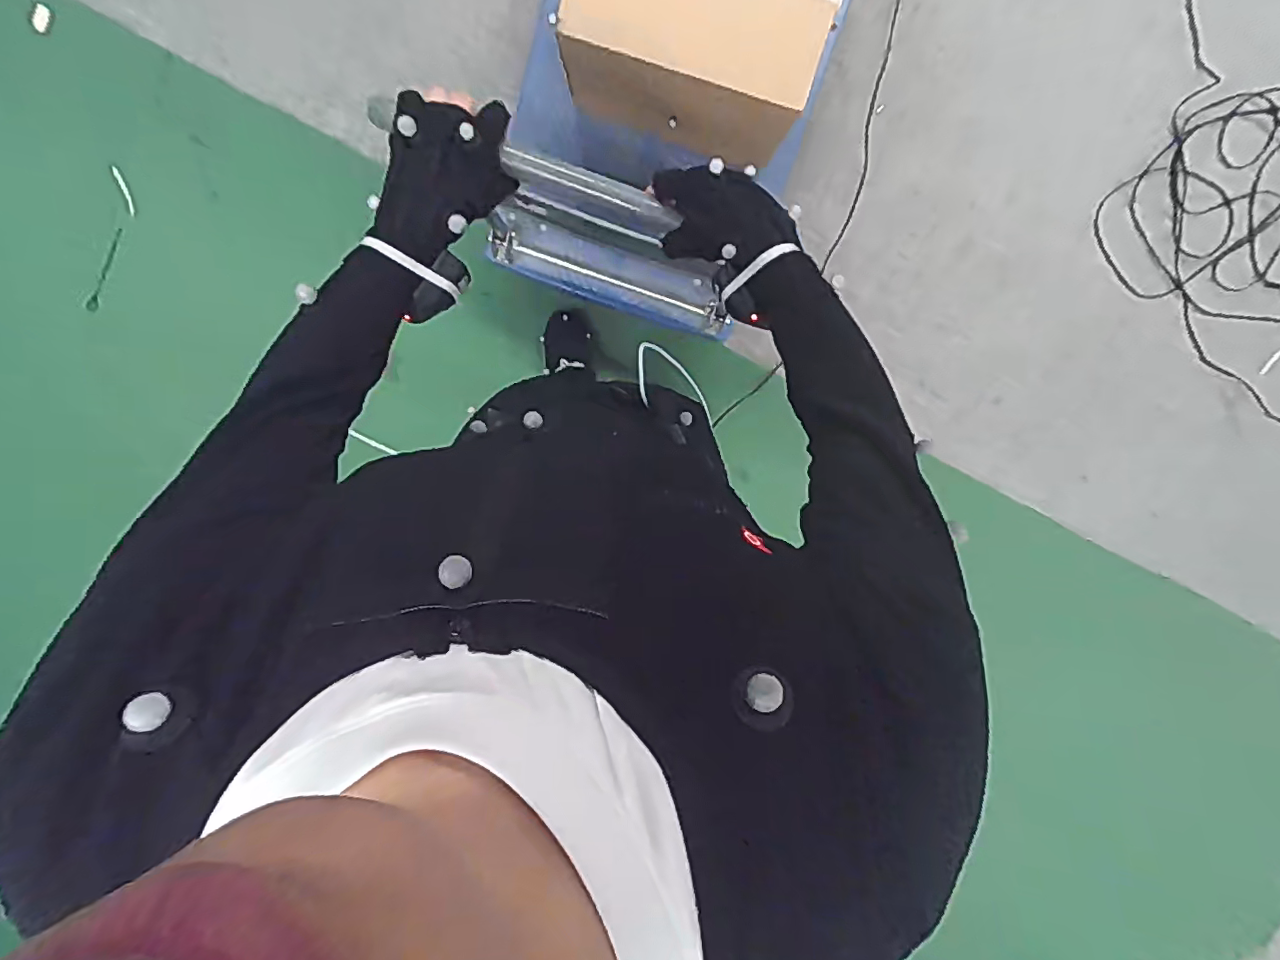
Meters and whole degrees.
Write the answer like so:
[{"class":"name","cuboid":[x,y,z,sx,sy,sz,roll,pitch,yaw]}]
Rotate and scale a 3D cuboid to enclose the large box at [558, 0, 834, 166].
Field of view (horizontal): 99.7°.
[{"class":"large box","cuboid":[0.103,-0.809,0.951,0.408,0.320,0.320,15,103,-4]}]
